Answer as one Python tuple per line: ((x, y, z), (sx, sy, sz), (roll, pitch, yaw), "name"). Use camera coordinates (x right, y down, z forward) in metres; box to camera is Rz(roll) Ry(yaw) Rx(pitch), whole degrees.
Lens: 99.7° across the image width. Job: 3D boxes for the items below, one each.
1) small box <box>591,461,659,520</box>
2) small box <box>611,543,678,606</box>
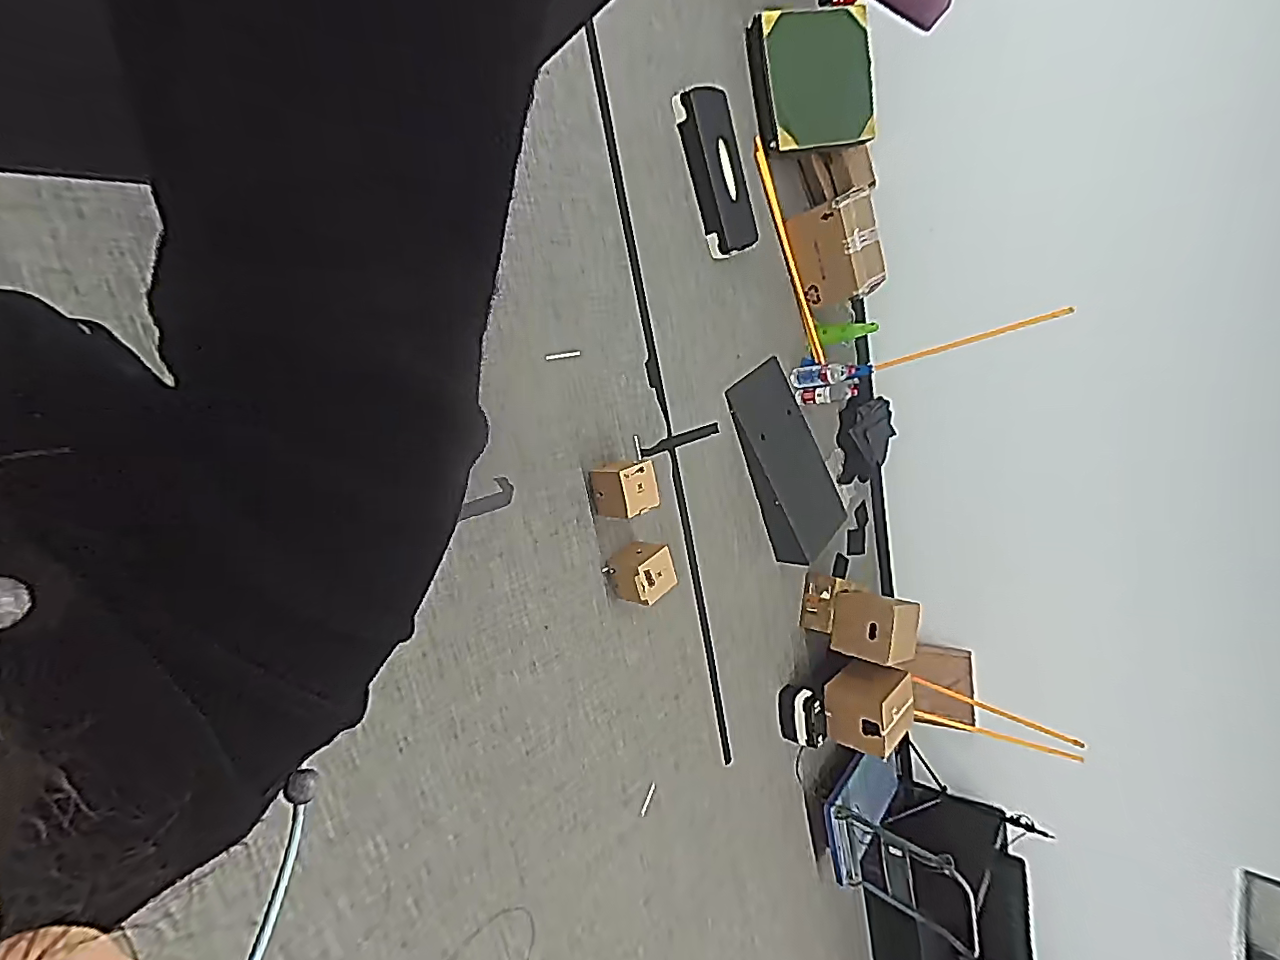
((-0.055, 0.034, 1.973), (0.168, 0.176, 0.179), (-22, 107, -42), "small box")
((0.011, 0.354, 2.051), (0.179, 0.176, 0.168), (-31, 113, -40), "small box")
